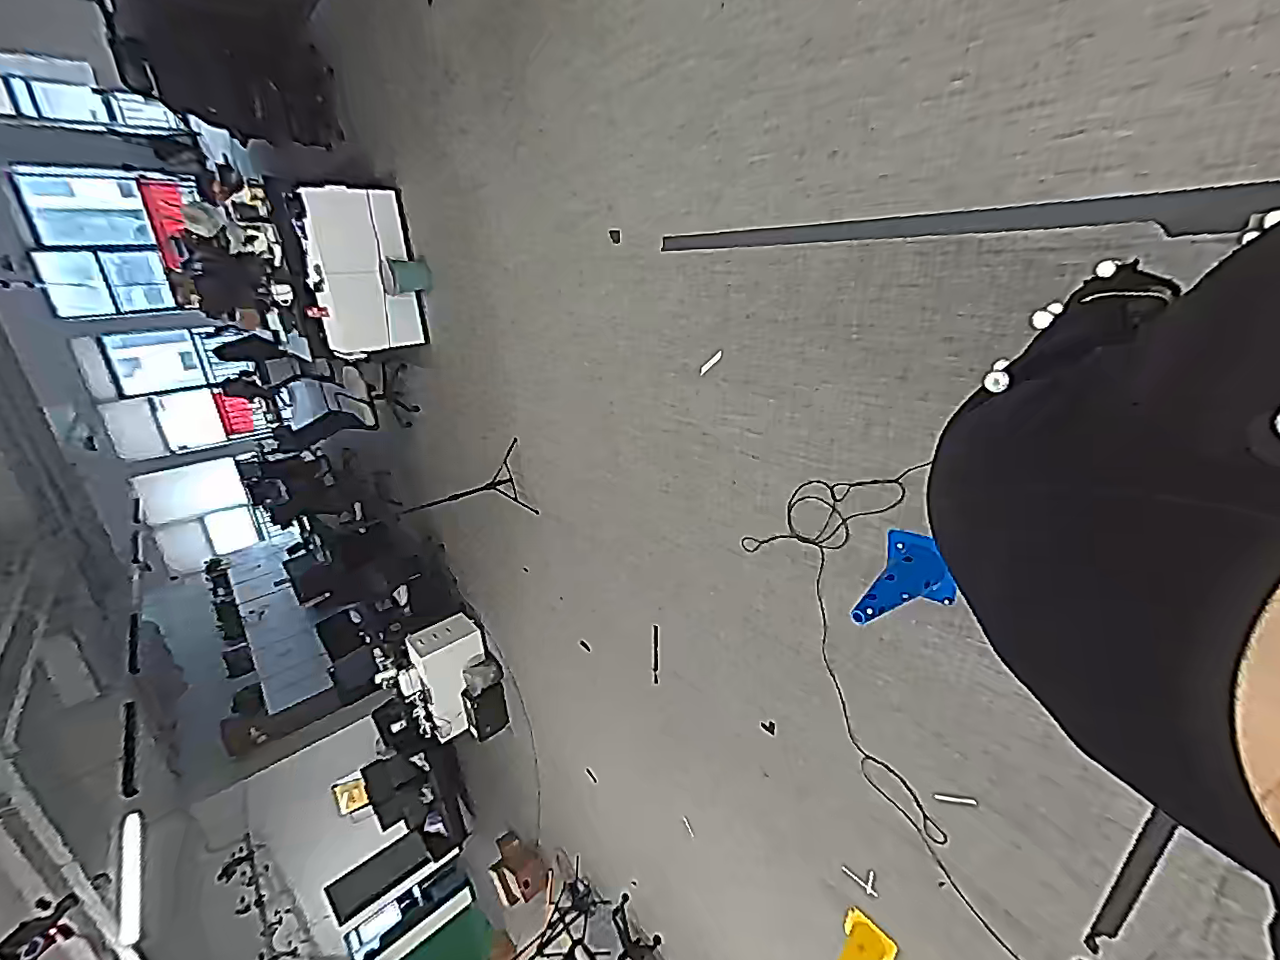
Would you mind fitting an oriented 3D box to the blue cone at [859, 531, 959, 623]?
[{"bbox_3d":[0.705,0.295,1.490,0.192,0.380,0.193,16,119,47],"label":"blue cone"}]
